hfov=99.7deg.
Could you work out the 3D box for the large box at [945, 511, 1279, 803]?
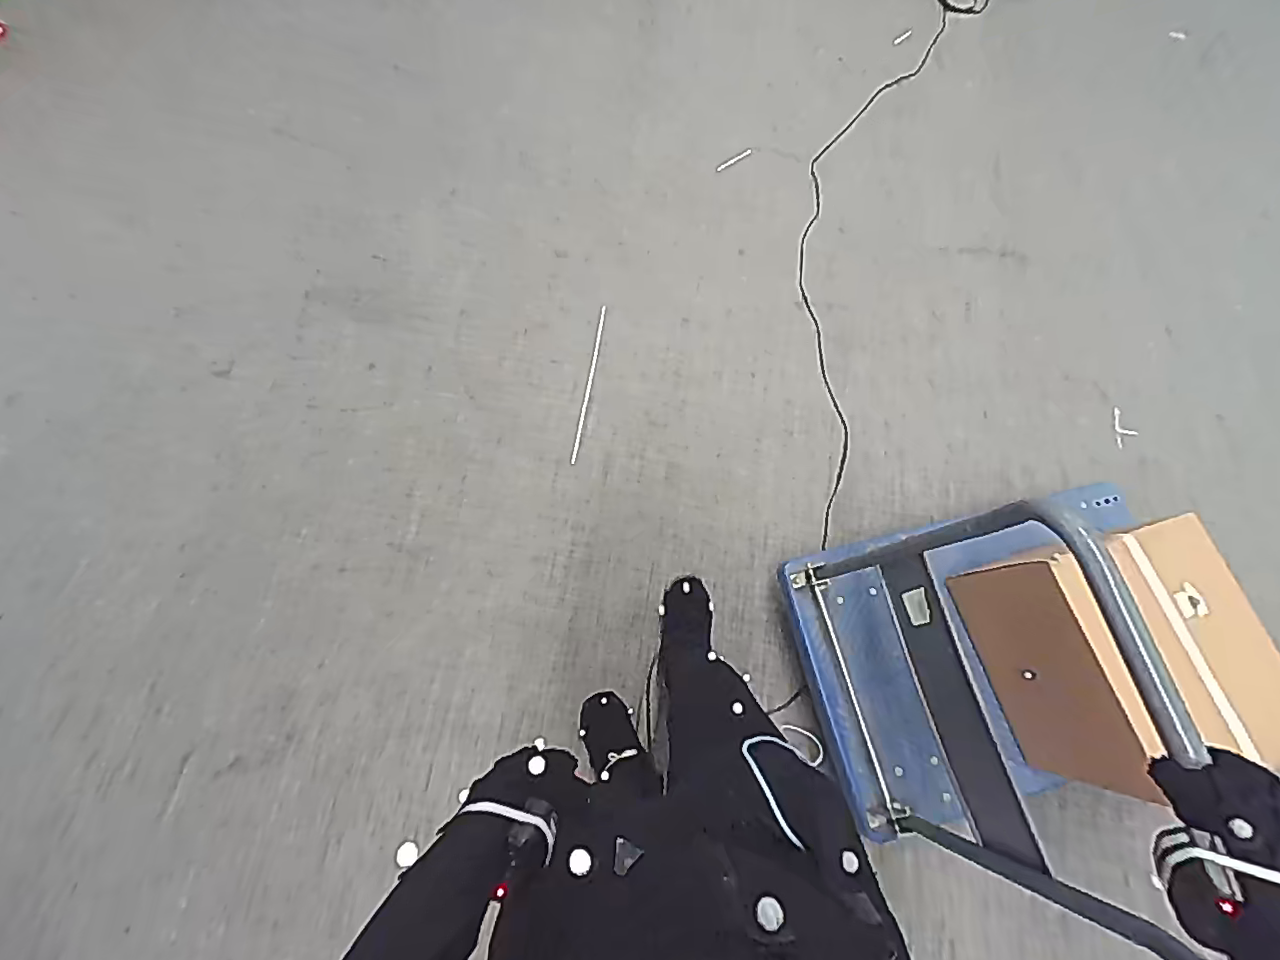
[{"bbox_3d":[0.894,0.322,1.046,0.320,0.320,0.408,-16,74,-9],"label":"large box"}]
